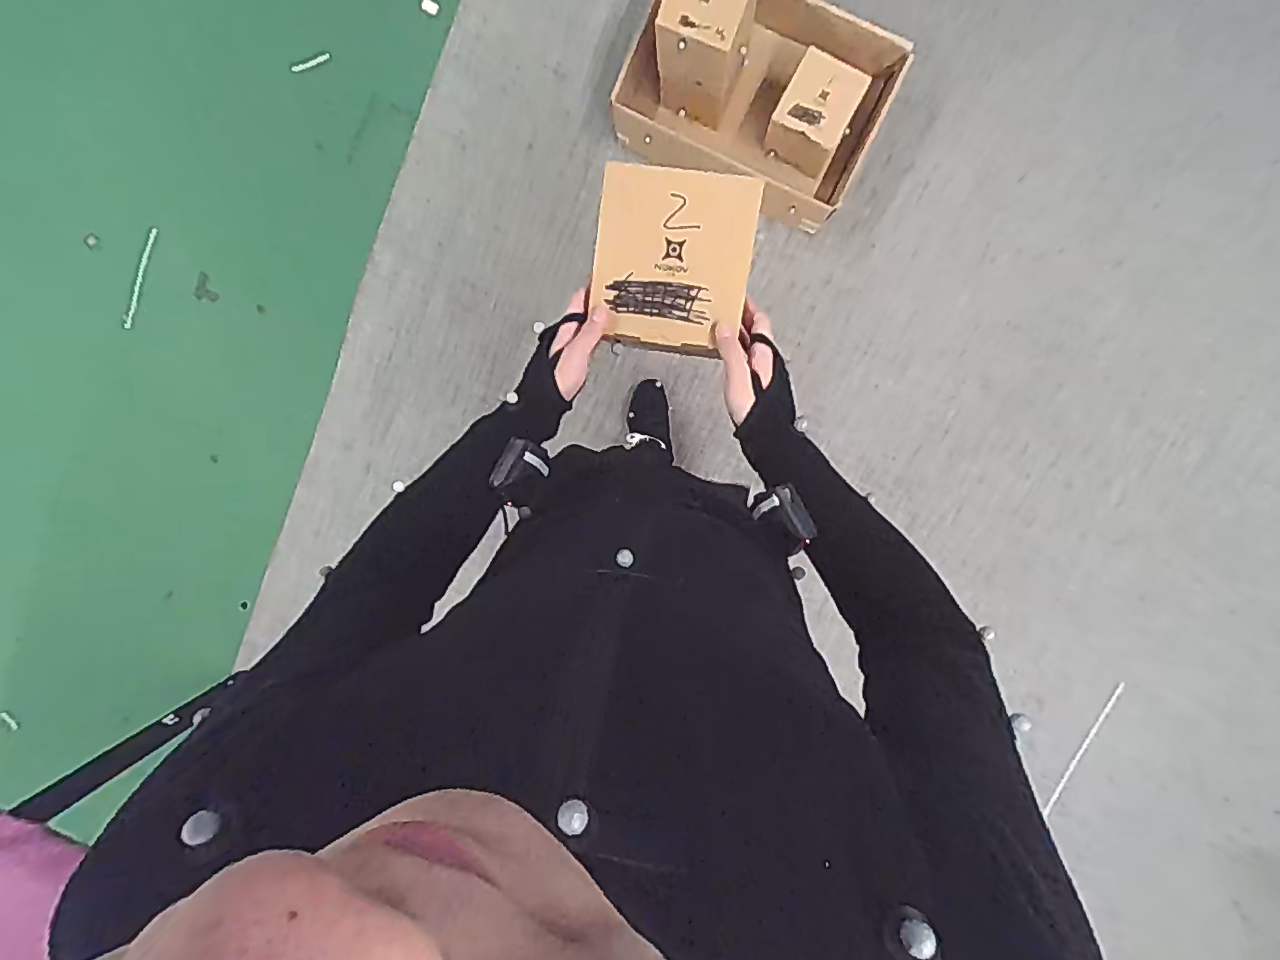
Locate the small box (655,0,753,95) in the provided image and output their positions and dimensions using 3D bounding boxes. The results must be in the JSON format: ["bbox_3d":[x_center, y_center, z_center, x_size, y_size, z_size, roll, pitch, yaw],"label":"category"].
[{"bbox_3d":[0.138,-0.990,1.165,0.168,0.176,0.179,23,98,1],"label":"small box"}]
